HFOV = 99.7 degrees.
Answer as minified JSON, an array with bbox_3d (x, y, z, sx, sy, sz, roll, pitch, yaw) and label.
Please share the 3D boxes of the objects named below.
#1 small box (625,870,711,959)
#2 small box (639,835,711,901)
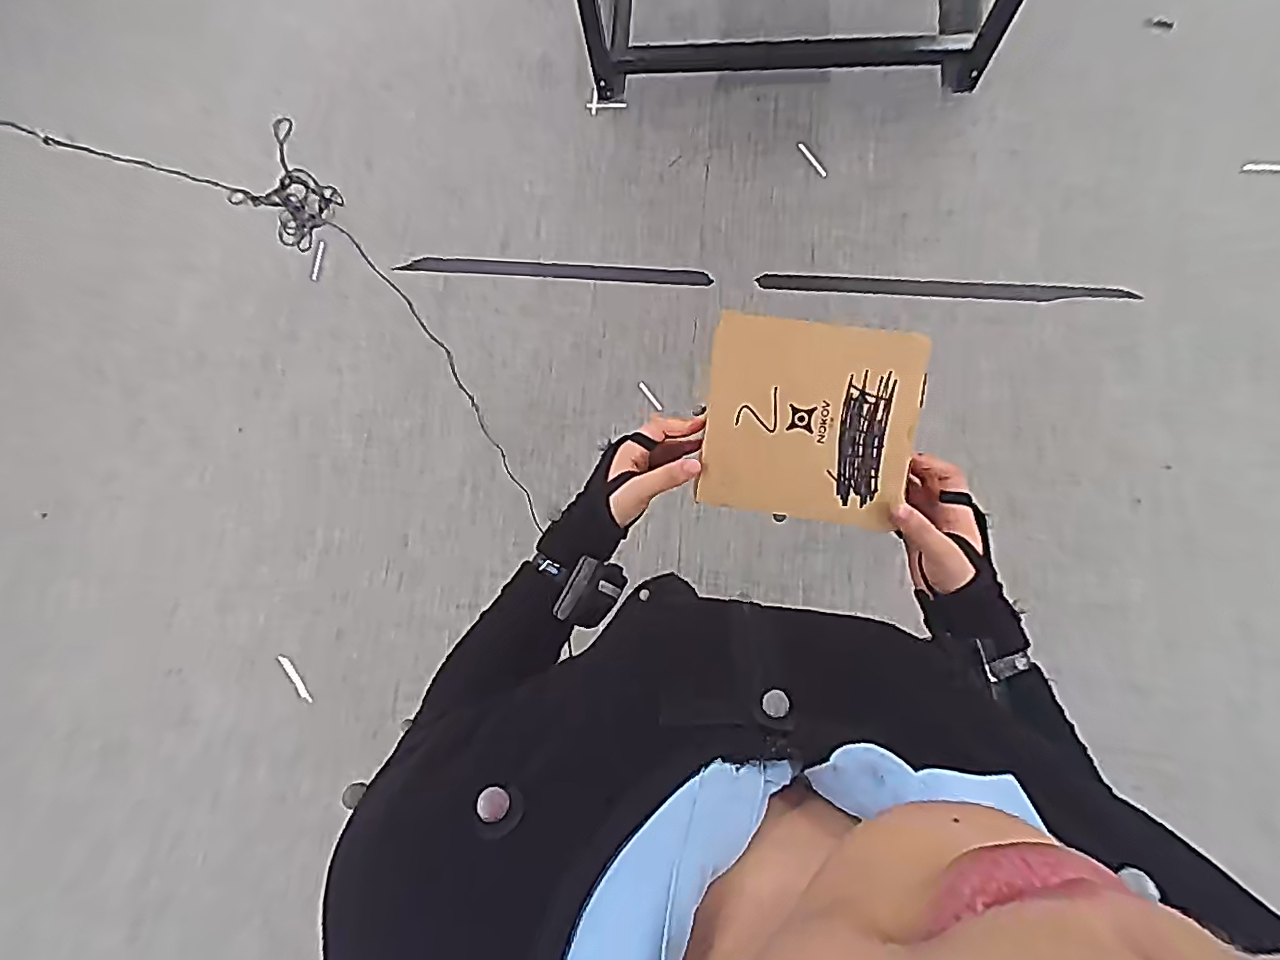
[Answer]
[{"bbox_3d":[0.060,0.963,1.130,0.168,0.176,0.179,4,80,6],"label":"small box"},{"bbox_3d":[0.081,0.983,1.290,0.168,0.176,0.179,2,81,7],"label":"small box"}]
